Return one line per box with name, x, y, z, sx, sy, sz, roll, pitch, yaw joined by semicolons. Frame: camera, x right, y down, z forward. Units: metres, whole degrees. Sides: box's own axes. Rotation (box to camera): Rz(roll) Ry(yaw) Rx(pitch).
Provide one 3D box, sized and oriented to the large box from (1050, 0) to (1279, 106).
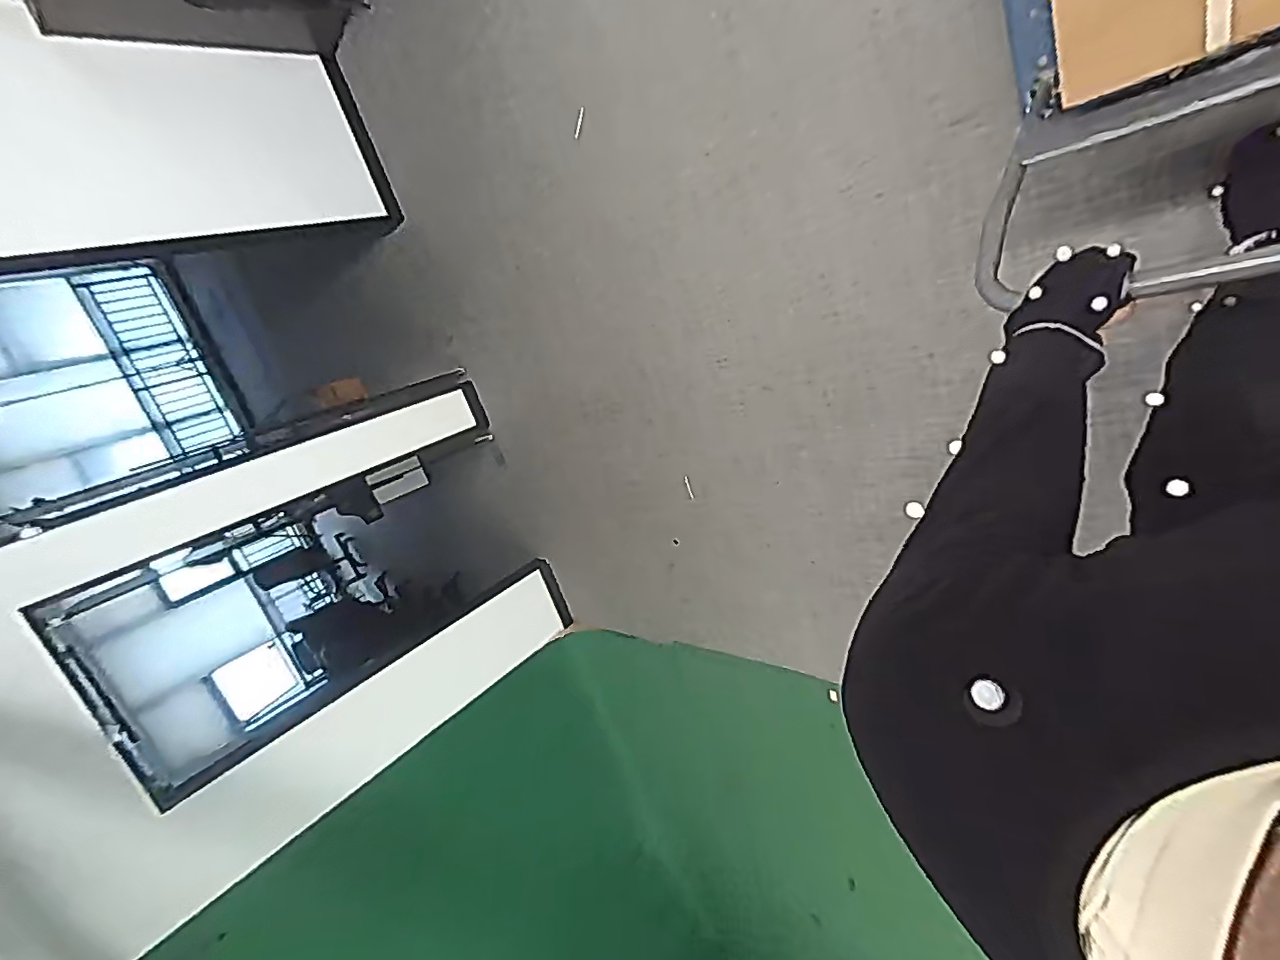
large box;0.721;-0.795;0.676;0.320;0.320;0.408;0;132;46
